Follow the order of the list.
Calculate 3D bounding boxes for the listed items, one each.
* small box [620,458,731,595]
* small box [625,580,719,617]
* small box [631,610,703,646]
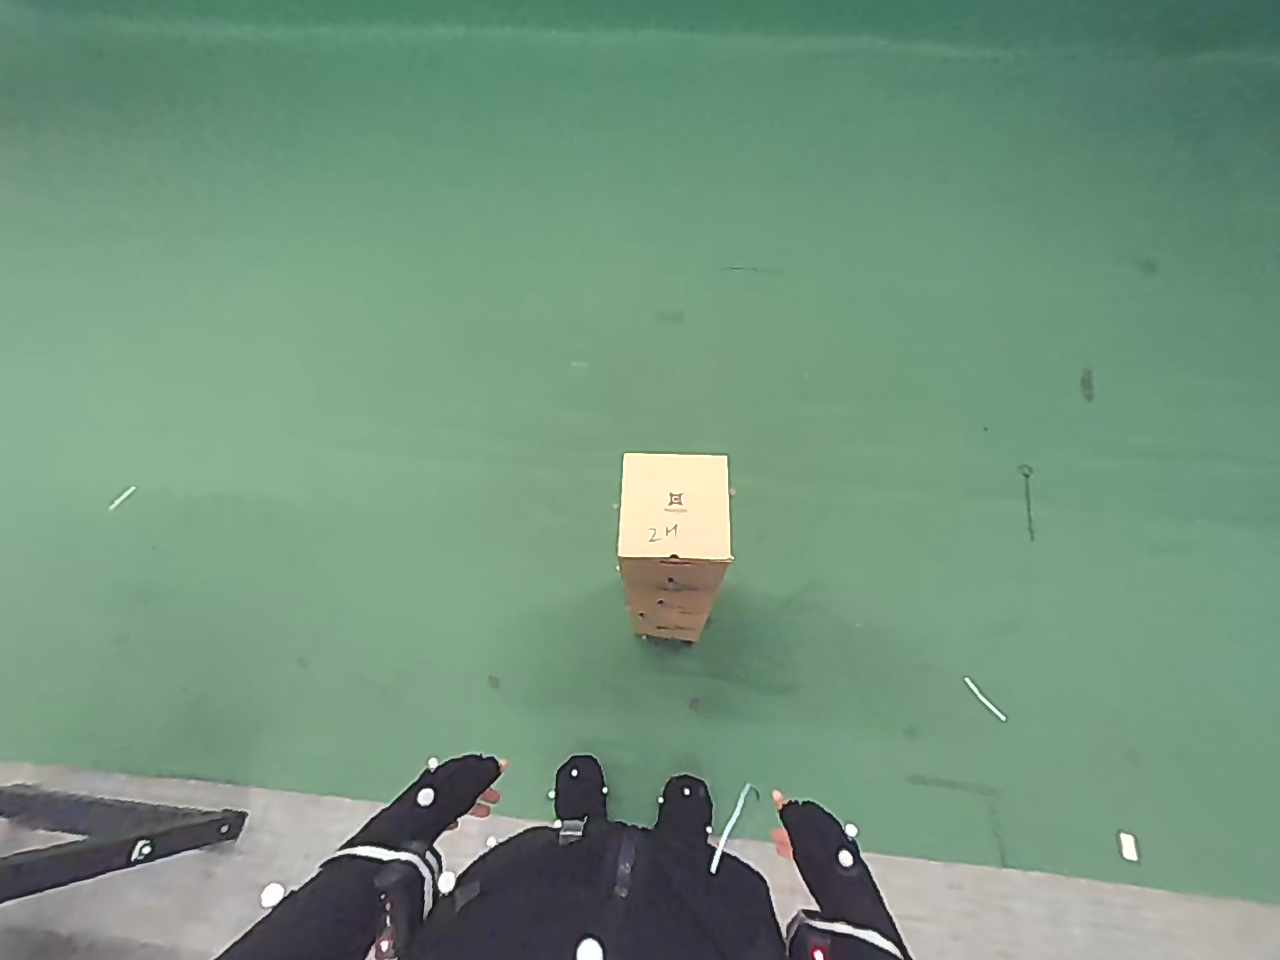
[{"bbox_3d":[0.056,0.081,0.895,0.168,0.176,0.179,2,65,2],"label":"small box"},{"bbox_3d":[0.060,0.155,1.042,0.168,0.176,0.179,2,64,2],"label":"small box"},{"bbox_3d":[0.073,0.304,1.334,0.168,0.176,0.179,5,64,4],"label":"small box"}]
